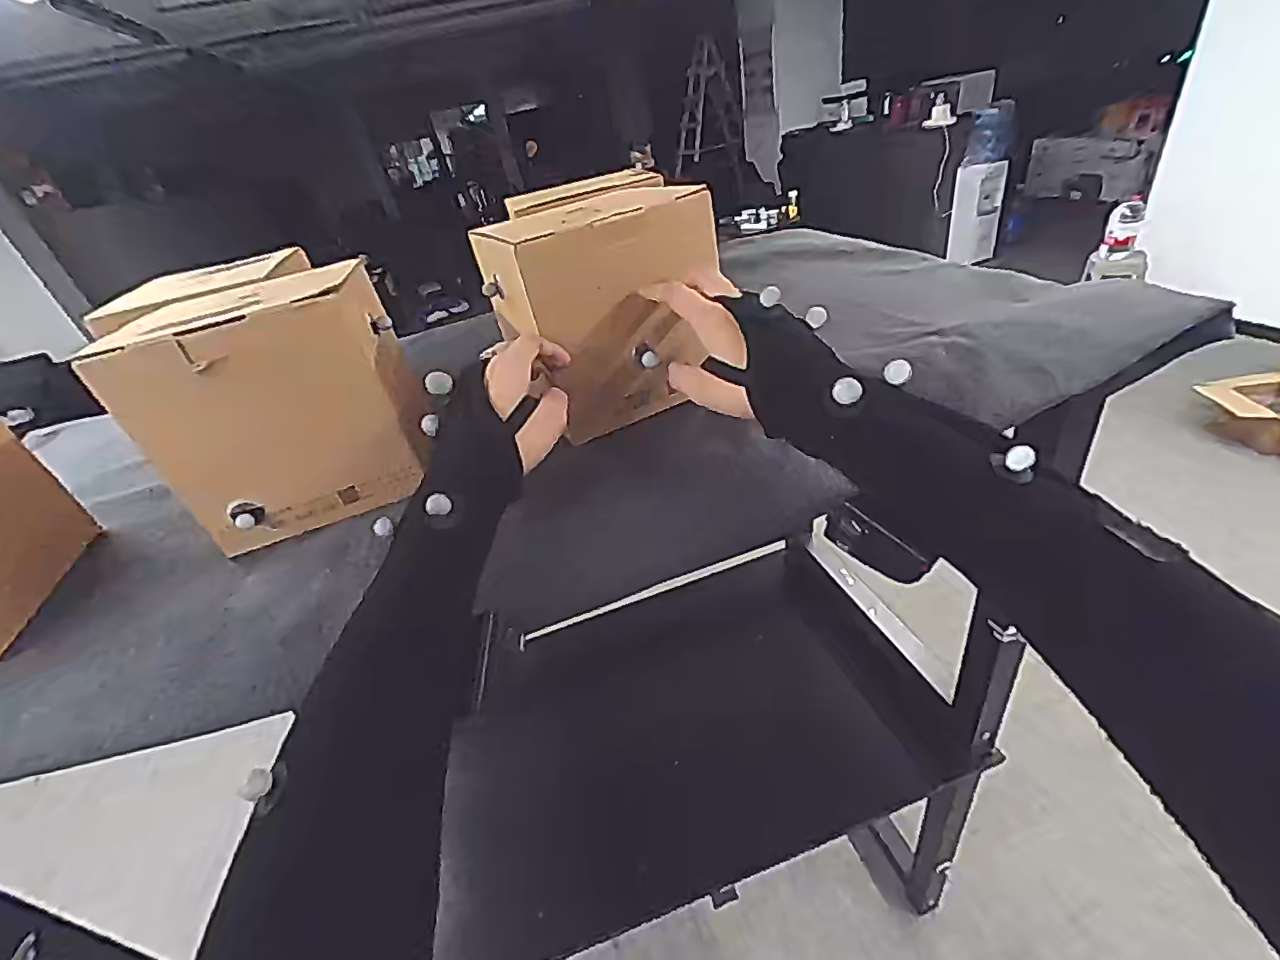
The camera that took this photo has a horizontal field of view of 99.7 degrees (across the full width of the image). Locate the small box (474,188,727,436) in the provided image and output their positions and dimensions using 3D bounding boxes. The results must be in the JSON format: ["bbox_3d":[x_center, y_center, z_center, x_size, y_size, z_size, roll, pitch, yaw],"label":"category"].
[{"bbox_3d":[-0.036,-0.162,0.510,0.168,0.176,0.179,-24,34,-16],"label":"small box"}]

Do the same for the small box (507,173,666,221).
[{"bbox_3d":[-0.060,-0.286,0.704,0.179,0.176,0.168,-17,33,-7],"label":"small box"}]

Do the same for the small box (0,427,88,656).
[{"bbox_3d":[-0.558,0.049,0.375,0.168,0.176,0.179,-20,36,-12],"label":"small box"}]
